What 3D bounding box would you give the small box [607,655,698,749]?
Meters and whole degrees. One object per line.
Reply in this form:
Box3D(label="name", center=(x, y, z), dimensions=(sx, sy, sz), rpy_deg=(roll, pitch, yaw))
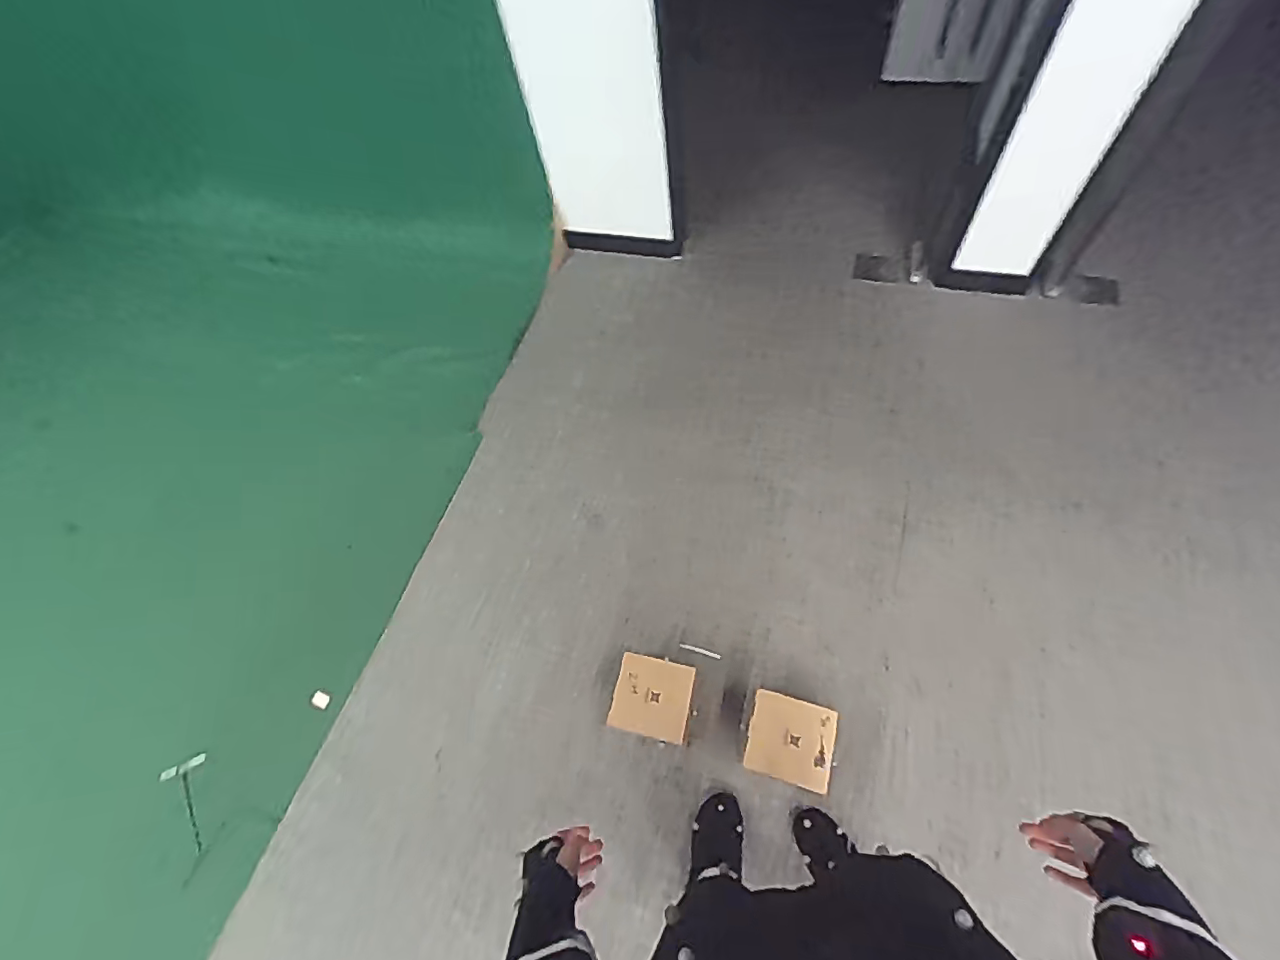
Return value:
Box3D(label="small box", center=(0.039, 0.534, 1.294), dimensions=(0.179, 0.176, 0.168), rpy_deg=(9, 63, 14))
